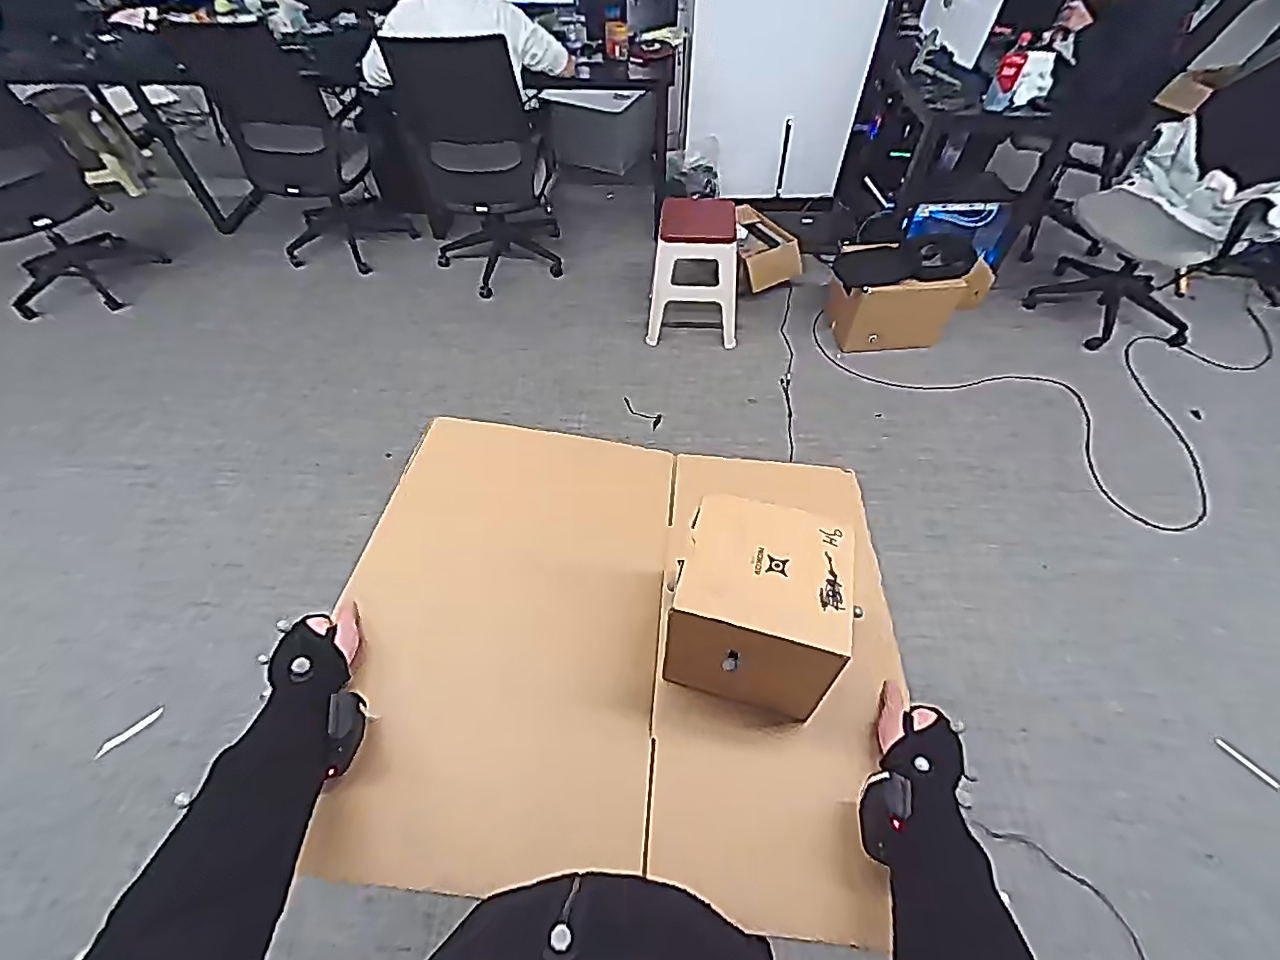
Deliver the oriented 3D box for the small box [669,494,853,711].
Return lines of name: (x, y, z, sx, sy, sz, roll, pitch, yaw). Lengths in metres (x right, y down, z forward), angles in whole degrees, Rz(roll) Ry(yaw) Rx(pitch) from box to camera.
small box: (0.136, 0.145, 0.633, 0.179, 0.176, 0.168, 12, 49, 11)
